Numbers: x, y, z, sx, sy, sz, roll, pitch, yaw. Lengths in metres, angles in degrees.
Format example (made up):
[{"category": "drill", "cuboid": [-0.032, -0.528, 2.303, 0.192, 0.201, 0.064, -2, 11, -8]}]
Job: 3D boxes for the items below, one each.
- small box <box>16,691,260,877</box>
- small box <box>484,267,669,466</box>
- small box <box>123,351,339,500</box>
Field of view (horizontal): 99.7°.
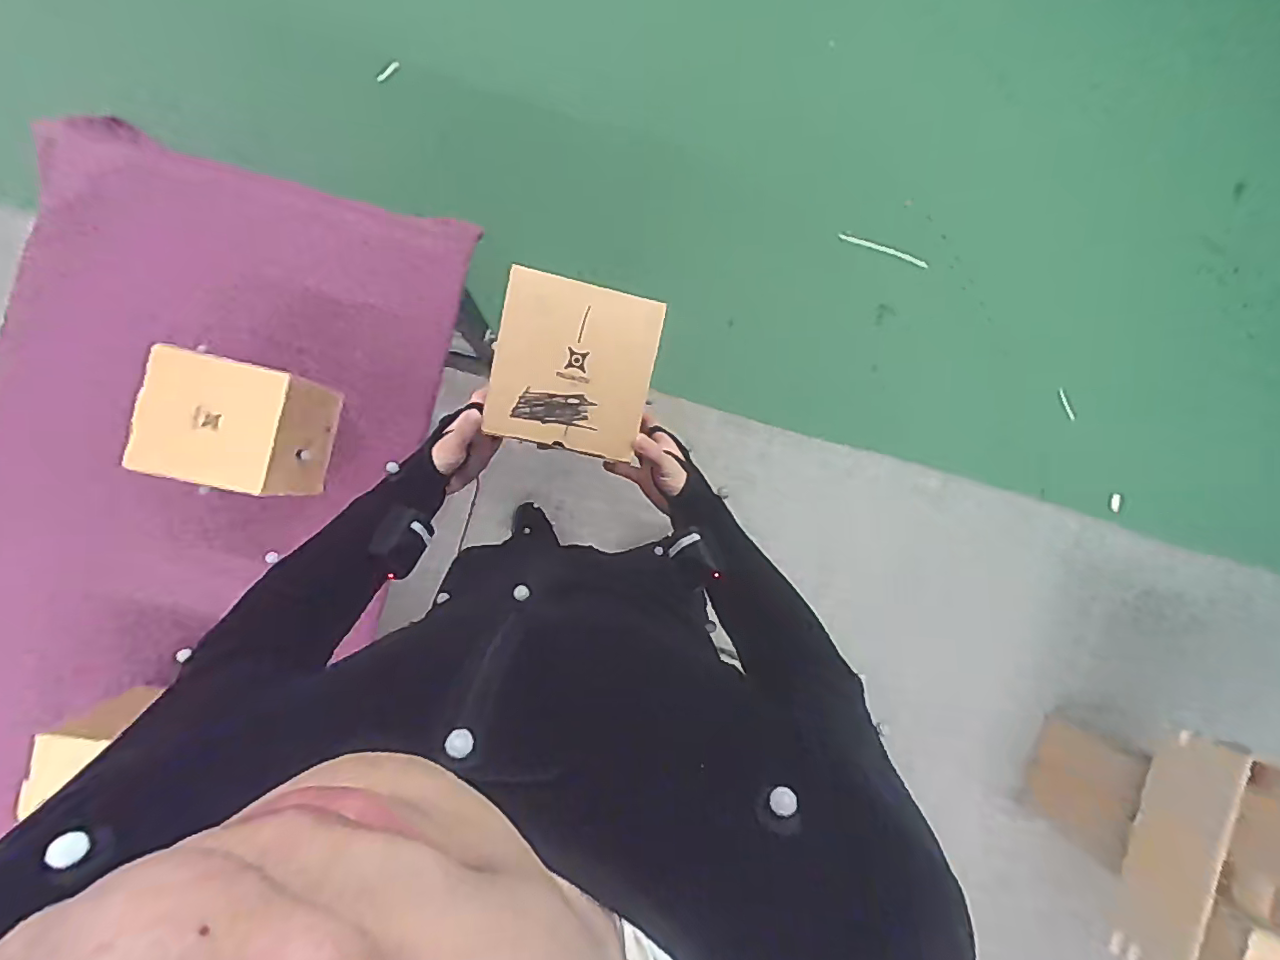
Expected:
[{"category": "small box", "cuboid": [-0.687, 0.413, 0.762, 0.179, 0.176, 0.168, 8, 89, -6]}, {"category": "small box", "cuboid": [-0.075, -0.126, 0.647, 0.168, 0.176, 0.179, 13, 96, -9]}, {"category": "small box", "cuboid": [-0.572, -0.072, 0.784, 0.179, 0.176, 0.168, 12, 89, -5]}]
